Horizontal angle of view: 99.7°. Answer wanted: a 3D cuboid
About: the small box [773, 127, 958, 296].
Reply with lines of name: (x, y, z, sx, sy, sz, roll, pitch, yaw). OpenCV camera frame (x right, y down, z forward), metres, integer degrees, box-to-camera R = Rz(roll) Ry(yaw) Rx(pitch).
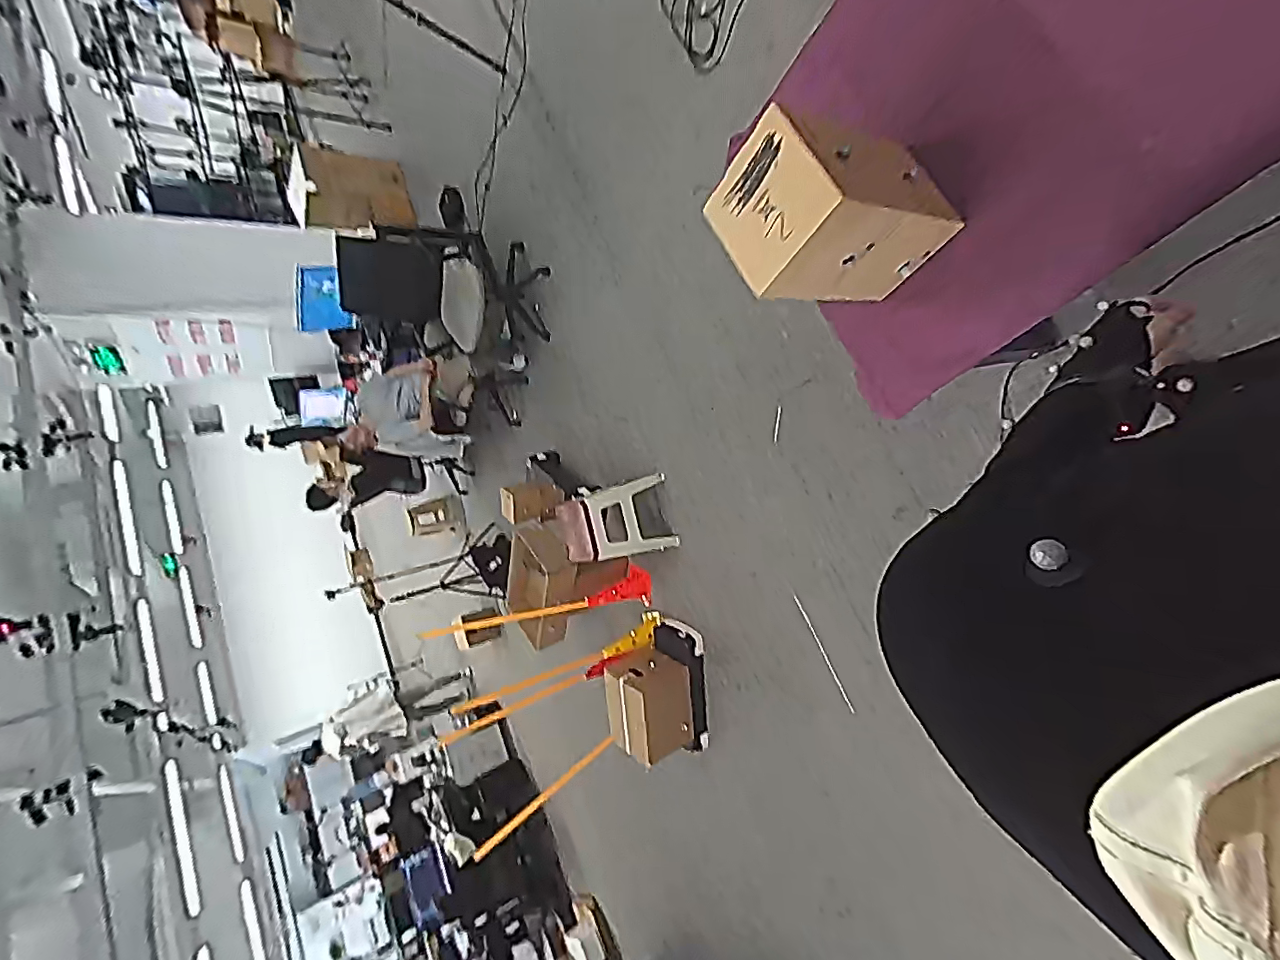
small box: (0.354, -0.410, 0.856, 0.168, 0.176, 0.179, -46, 65, 49)
